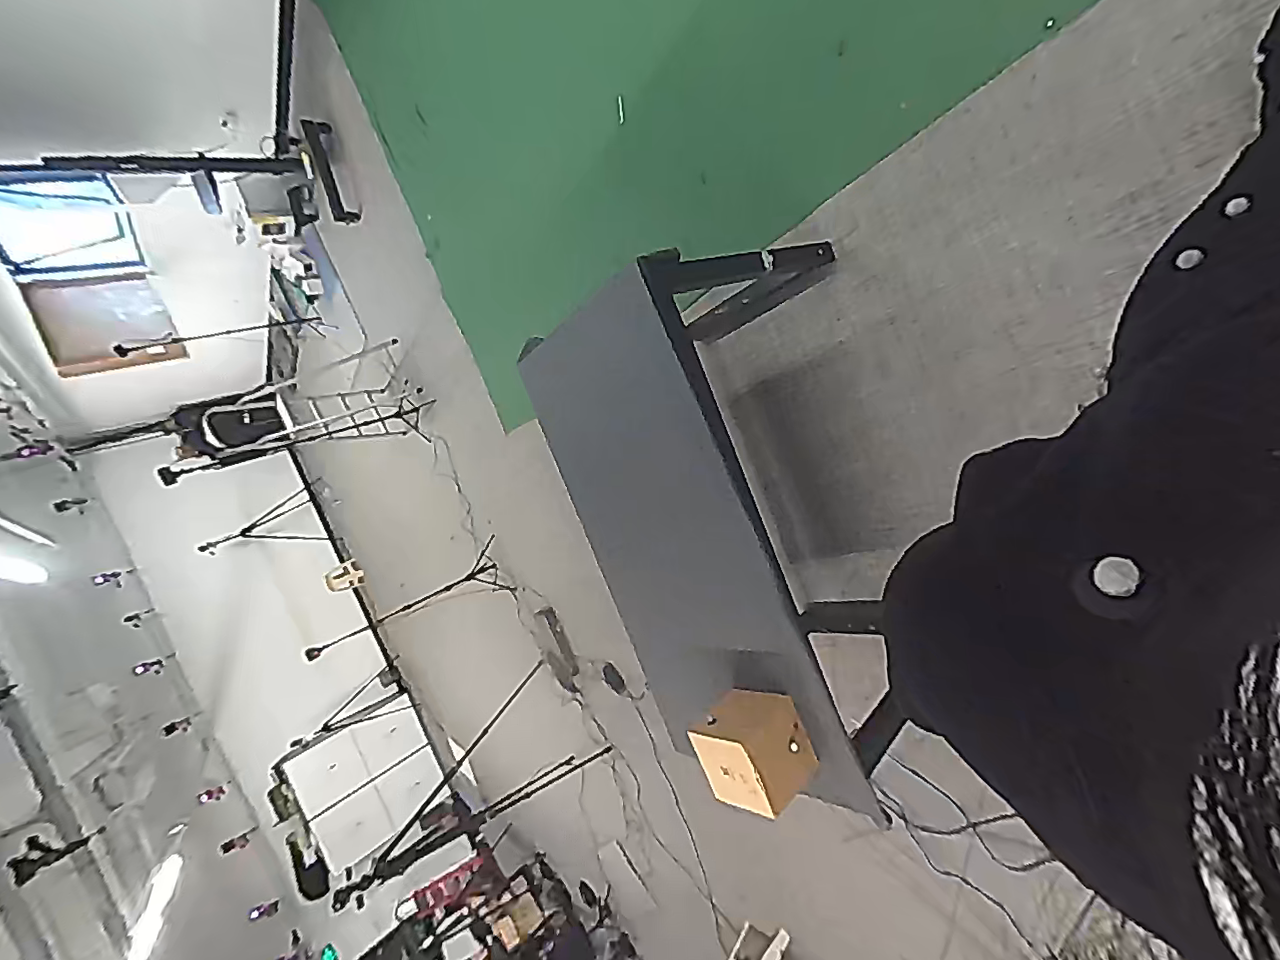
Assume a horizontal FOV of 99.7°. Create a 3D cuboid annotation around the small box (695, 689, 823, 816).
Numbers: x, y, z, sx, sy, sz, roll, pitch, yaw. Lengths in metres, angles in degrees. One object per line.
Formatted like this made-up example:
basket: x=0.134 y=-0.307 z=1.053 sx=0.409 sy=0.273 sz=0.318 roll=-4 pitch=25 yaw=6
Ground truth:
small box: x=0.256 y=0.570 z=1.162 sx=0.179 sy=0.176 sz=0.168 roll=-23 pitch=92 yaw=53
